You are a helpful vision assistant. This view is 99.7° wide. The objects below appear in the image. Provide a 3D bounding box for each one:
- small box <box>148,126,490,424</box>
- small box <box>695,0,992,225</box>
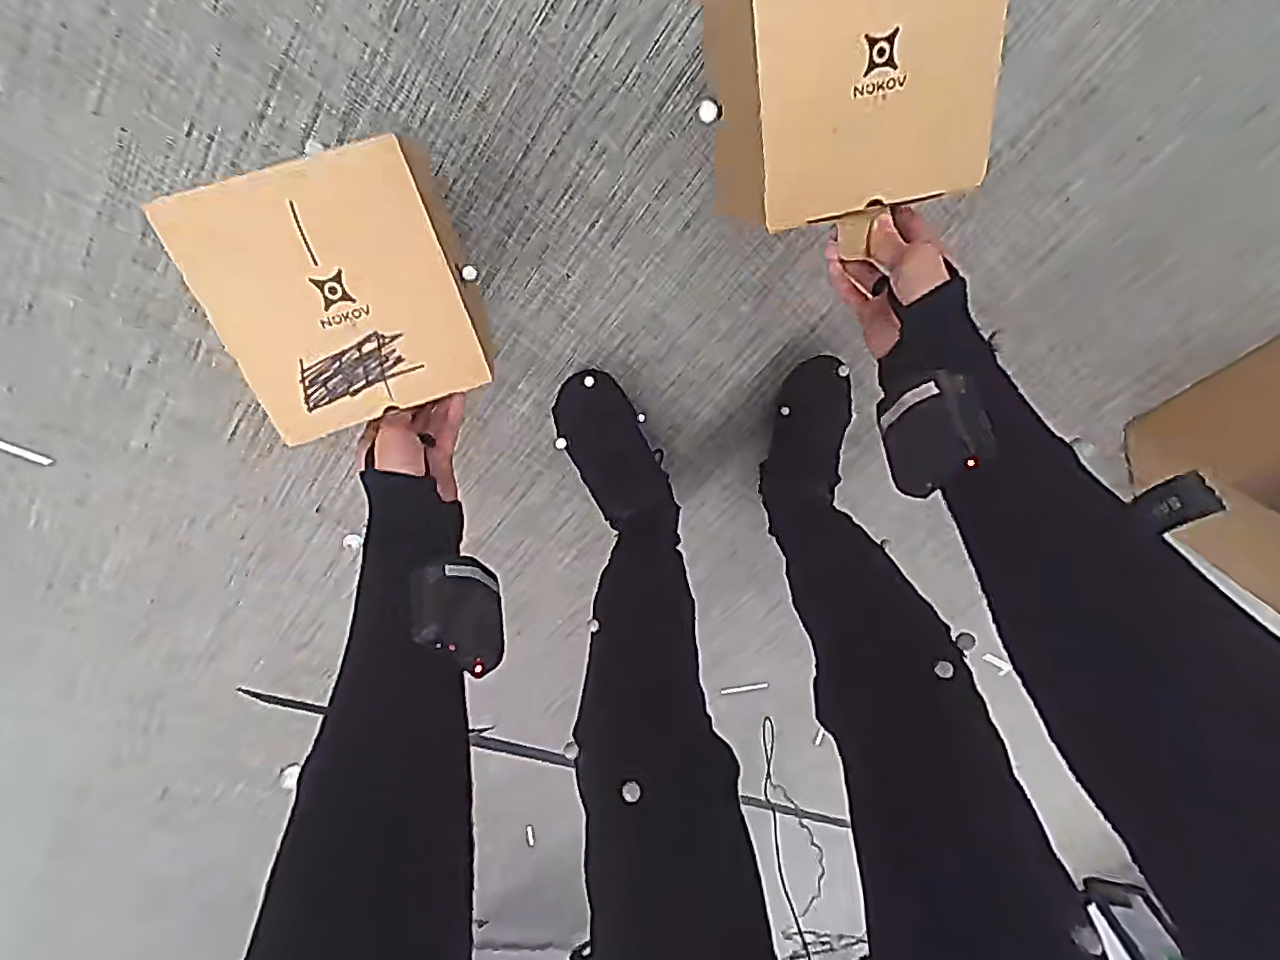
[{"bbox_3d":[-0.235,-0.177,0.461,0.168,0.176,0.179,-19,122,-4],"label":"small box"},{"bbox_3d":[0.144,-0.323,0.431,0.168,0.176,0.179,-11,122,1],"label":"small box"}]
